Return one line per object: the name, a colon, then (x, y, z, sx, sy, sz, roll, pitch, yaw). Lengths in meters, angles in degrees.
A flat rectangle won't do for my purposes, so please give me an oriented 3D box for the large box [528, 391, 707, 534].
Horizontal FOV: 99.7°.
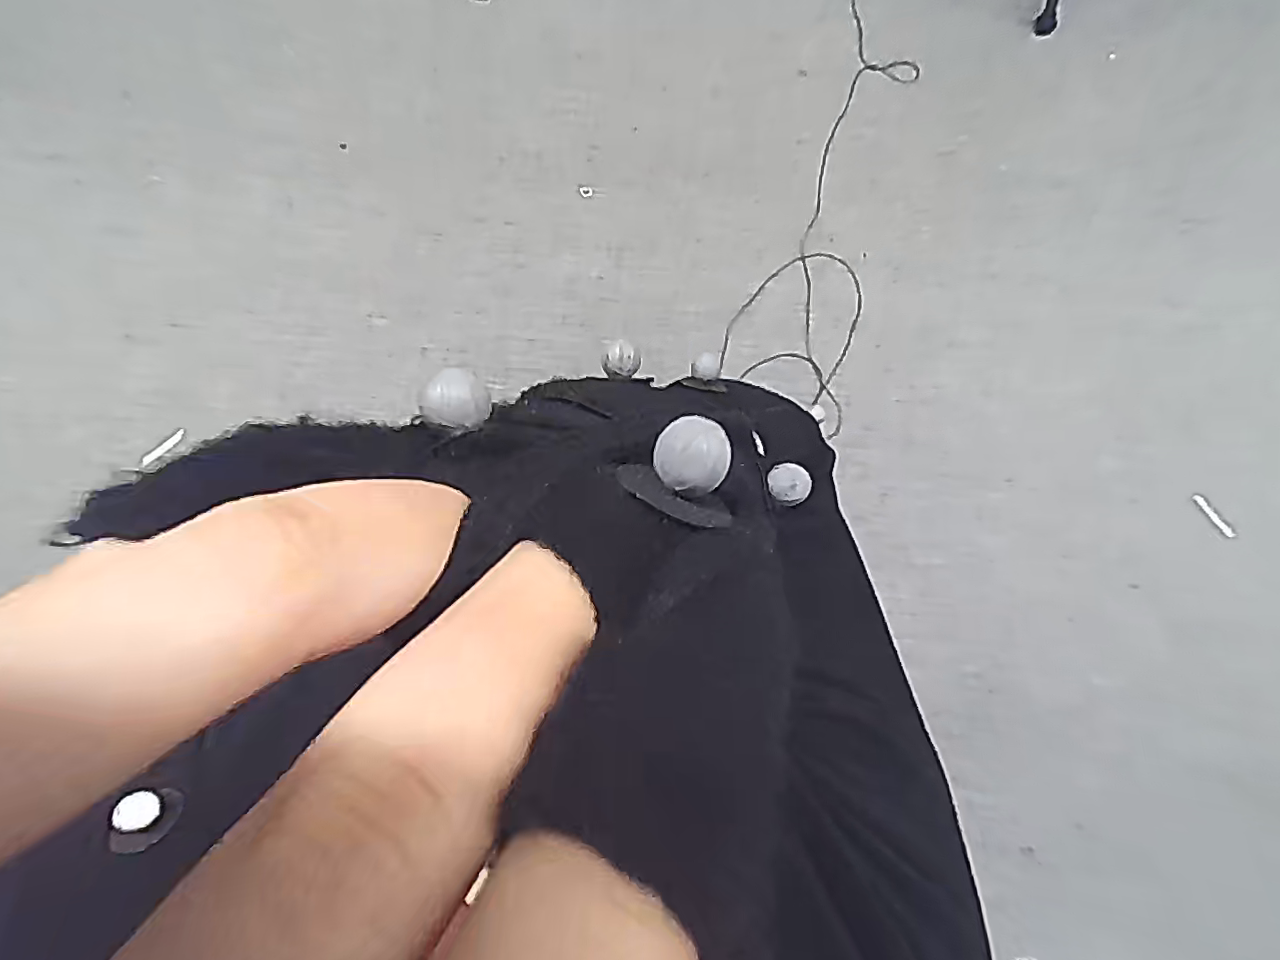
large box: (-0.050, -0.027, 1.370, 0.408, 0.320, 0.320, 3, 83, 1)
